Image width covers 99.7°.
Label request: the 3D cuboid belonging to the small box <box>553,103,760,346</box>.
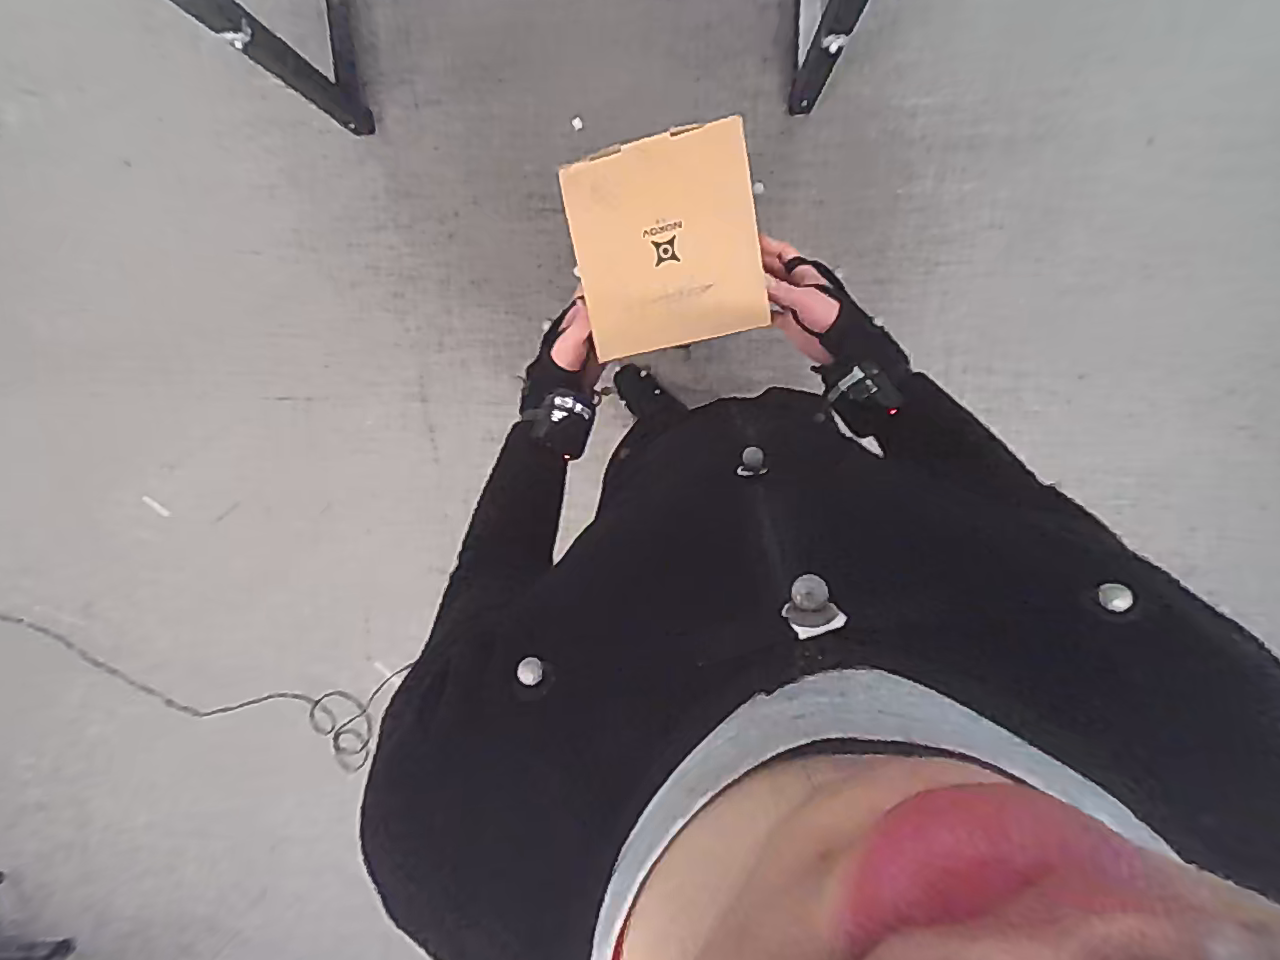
[{"bbox_3d":[0.026,-0.239,0.554,0.168,0.176,0.179,-7,105,11],"label":"small box"}]
